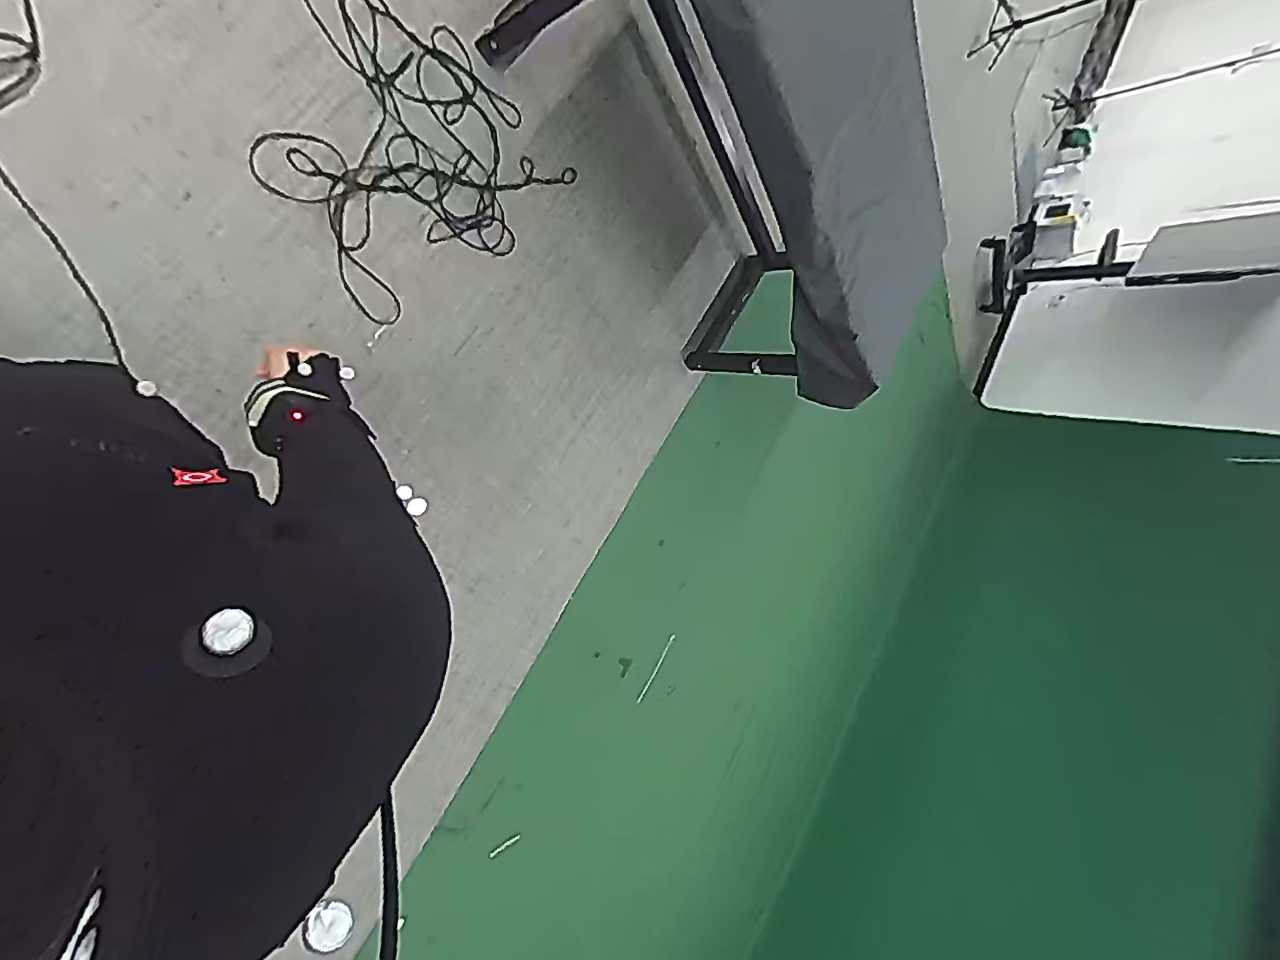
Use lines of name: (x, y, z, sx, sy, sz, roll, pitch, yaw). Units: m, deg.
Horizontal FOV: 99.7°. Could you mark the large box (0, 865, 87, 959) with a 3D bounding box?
large box: (-1.178, 0.826, 0.808, 0.408, 0.320, 0.320, 45, 67, -42)
